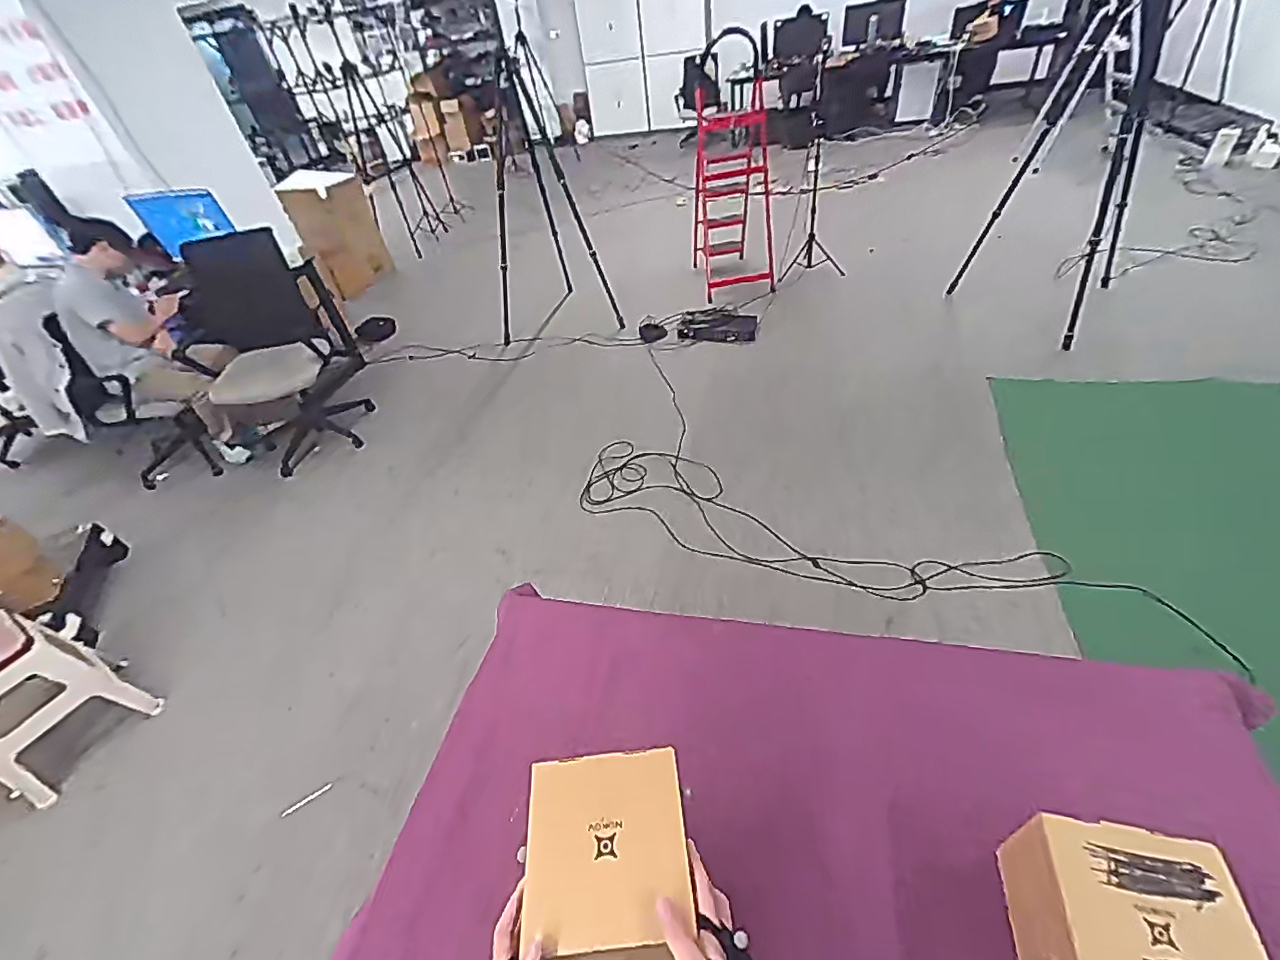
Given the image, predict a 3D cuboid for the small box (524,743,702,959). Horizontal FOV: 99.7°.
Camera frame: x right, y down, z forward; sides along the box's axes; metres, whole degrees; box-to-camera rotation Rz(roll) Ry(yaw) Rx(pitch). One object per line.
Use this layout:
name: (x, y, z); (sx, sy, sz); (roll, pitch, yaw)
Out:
small box: (-0.024, 0.424, 0.598); (0.168, 0.176, 0.179); (-6, 39, -2)
